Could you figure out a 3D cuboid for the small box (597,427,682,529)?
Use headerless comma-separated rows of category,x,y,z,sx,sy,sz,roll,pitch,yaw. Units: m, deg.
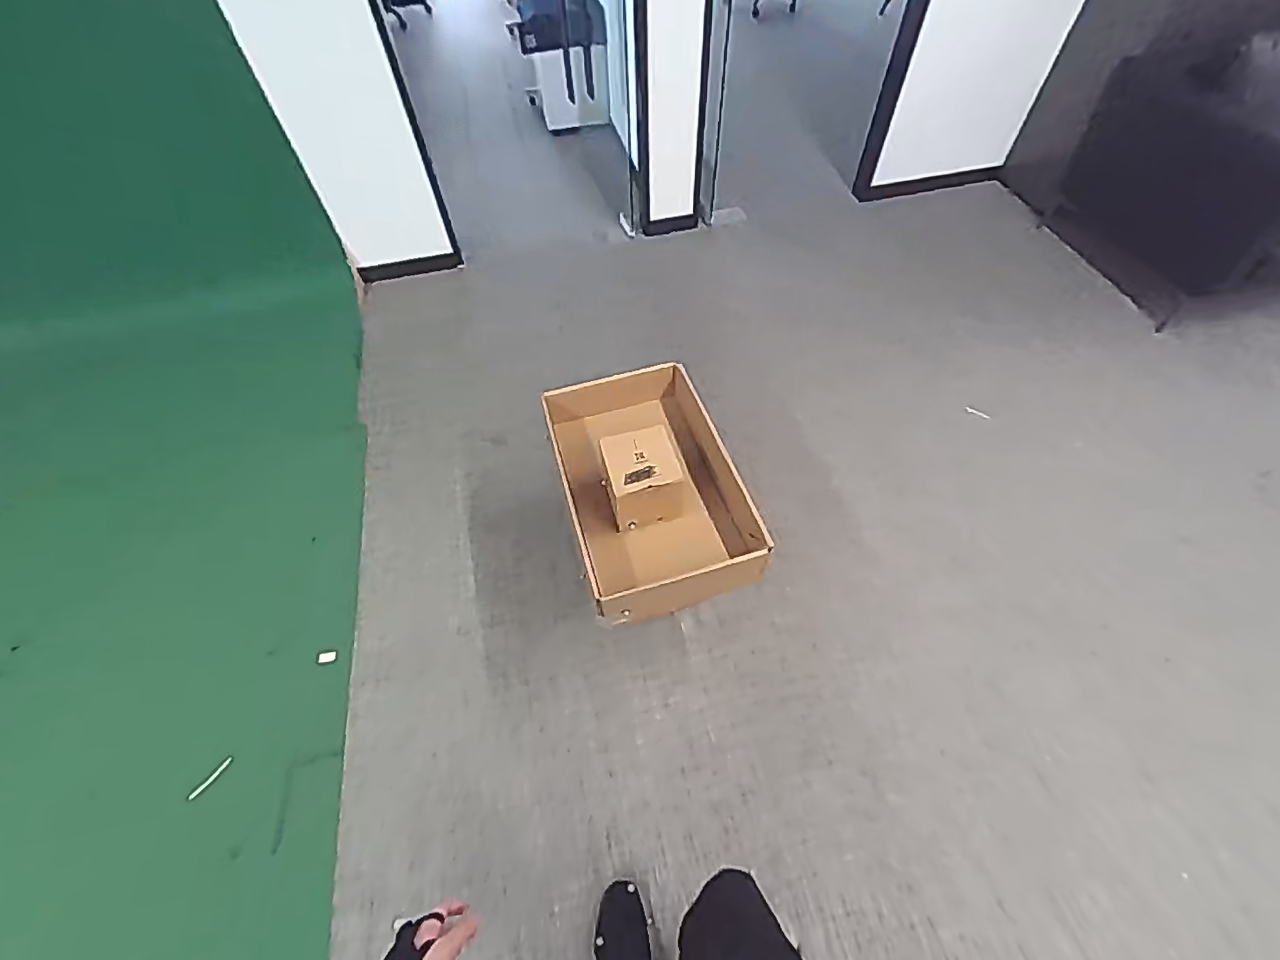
small box,0.000,0.003,1.319,0.168,0.176,0.179,-14,55,-8
